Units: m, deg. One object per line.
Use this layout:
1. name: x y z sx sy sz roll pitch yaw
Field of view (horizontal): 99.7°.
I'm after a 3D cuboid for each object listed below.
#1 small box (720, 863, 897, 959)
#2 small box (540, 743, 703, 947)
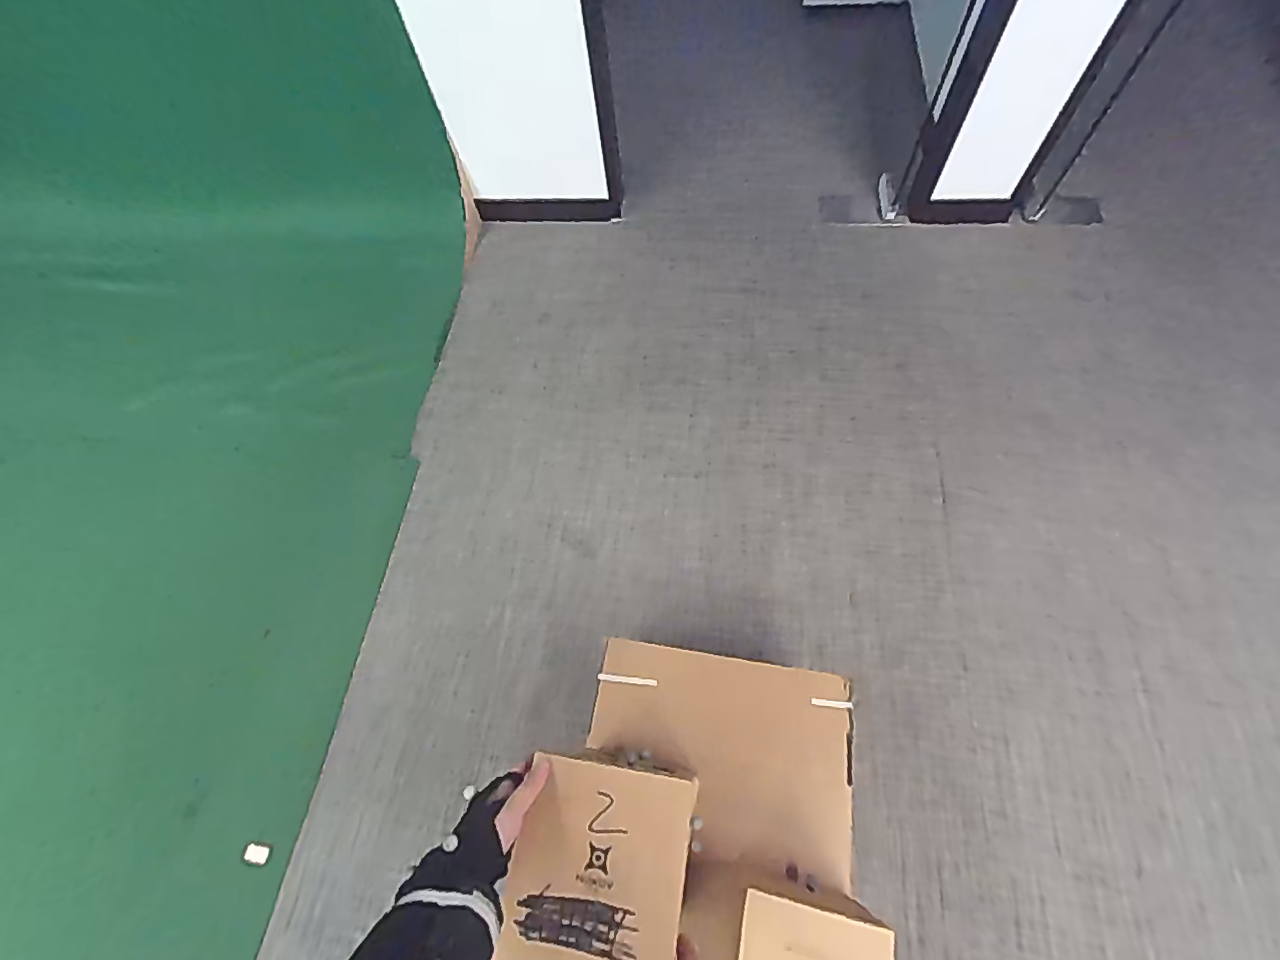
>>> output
1. small box: 0.188 0.591 0.642 0.168 0.176 0.179 11 64 9
2. small box: -0.014 0.469 0.723 0.168 0.176 0.179 9 63 11
